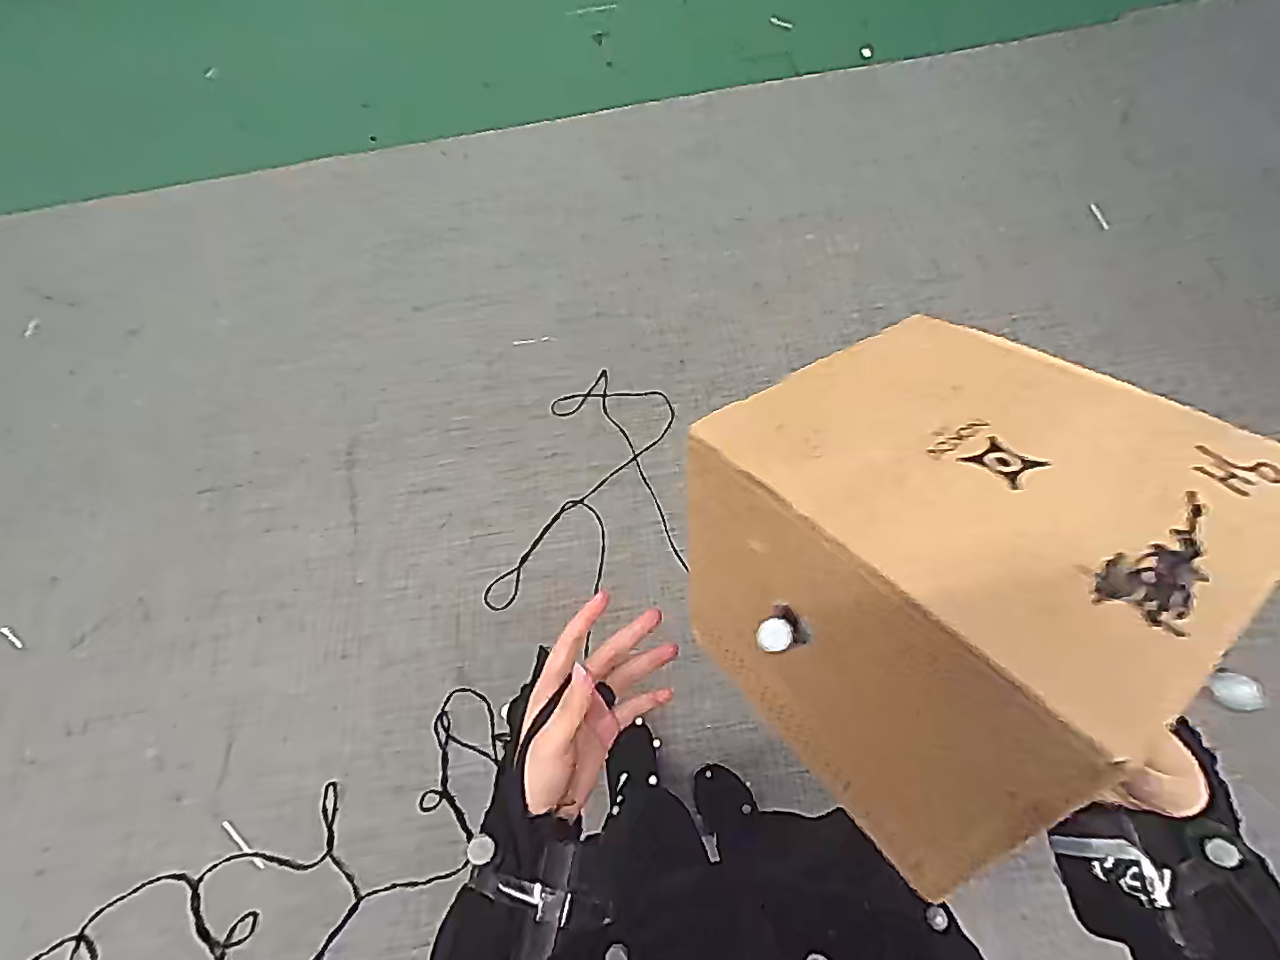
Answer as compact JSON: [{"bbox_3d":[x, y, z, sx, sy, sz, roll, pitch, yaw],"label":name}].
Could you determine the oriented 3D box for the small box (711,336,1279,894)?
[{"bbox_3d":[0.151,0.056,0.273,0.168,0.176,0.179,-28,47,-22],"label":"small box"}]
